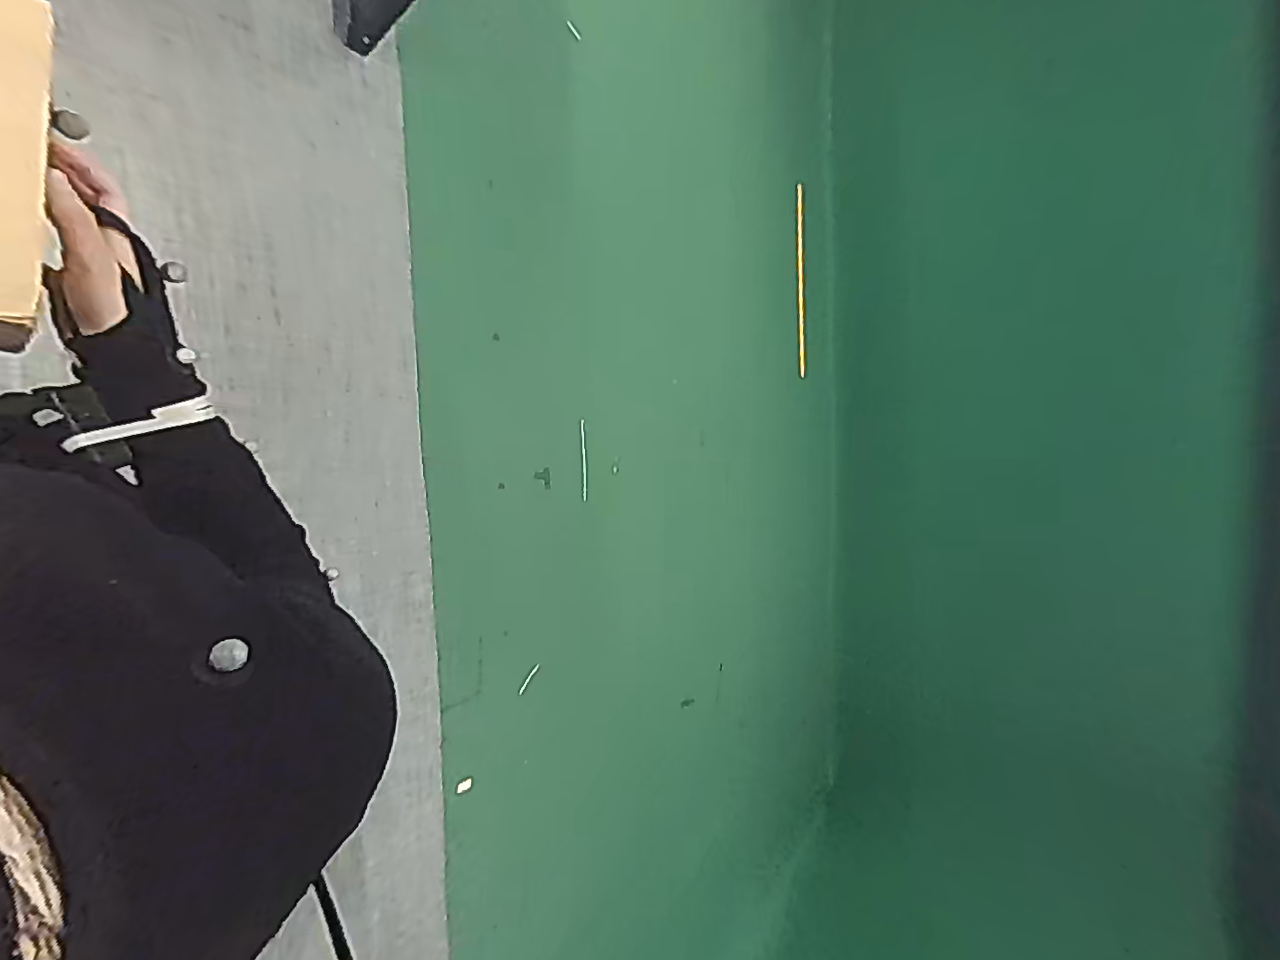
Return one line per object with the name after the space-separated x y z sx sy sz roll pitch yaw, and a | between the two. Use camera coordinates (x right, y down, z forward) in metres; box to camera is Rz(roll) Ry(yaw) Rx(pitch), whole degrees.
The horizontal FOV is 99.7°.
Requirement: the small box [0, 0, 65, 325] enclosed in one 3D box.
-0.420 -0.188 0.265 0.168 0.176 0.179 4 90 -52 | small box
